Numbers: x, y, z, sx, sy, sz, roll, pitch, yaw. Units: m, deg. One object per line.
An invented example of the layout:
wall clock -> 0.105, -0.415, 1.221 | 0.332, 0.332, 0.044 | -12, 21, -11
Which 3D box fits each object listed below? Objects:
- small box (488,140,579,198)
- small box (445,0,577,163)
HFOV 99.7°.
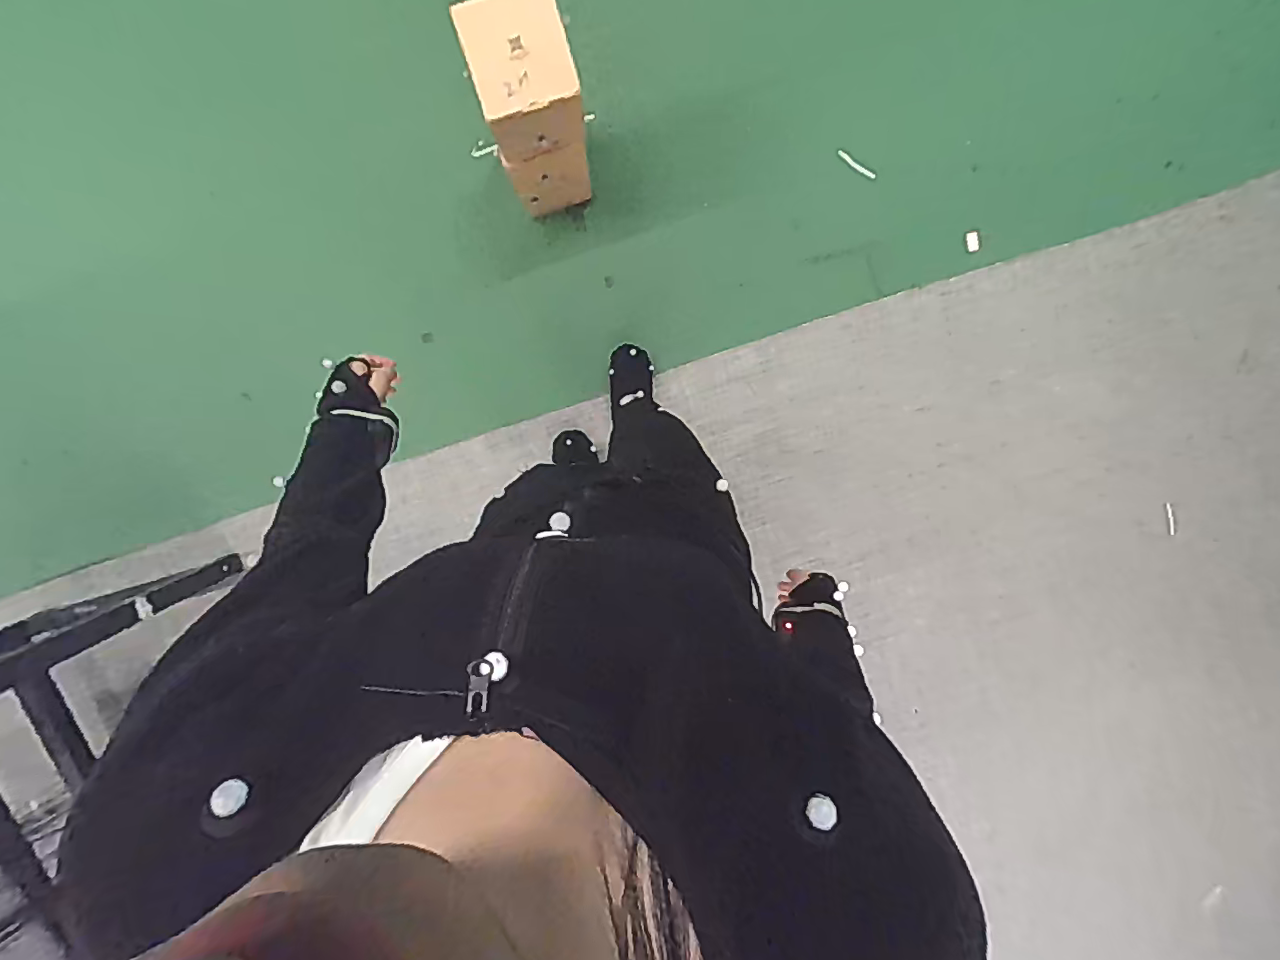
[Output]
small box -> -0.229, -0.712, 1.101 | 0.168, 0.176, 0.179 | -19, 100, -1
small box -> -0.212, -0.692, 0.938 | 0.168, 0.176, 0.179 | -18, 100, -1
